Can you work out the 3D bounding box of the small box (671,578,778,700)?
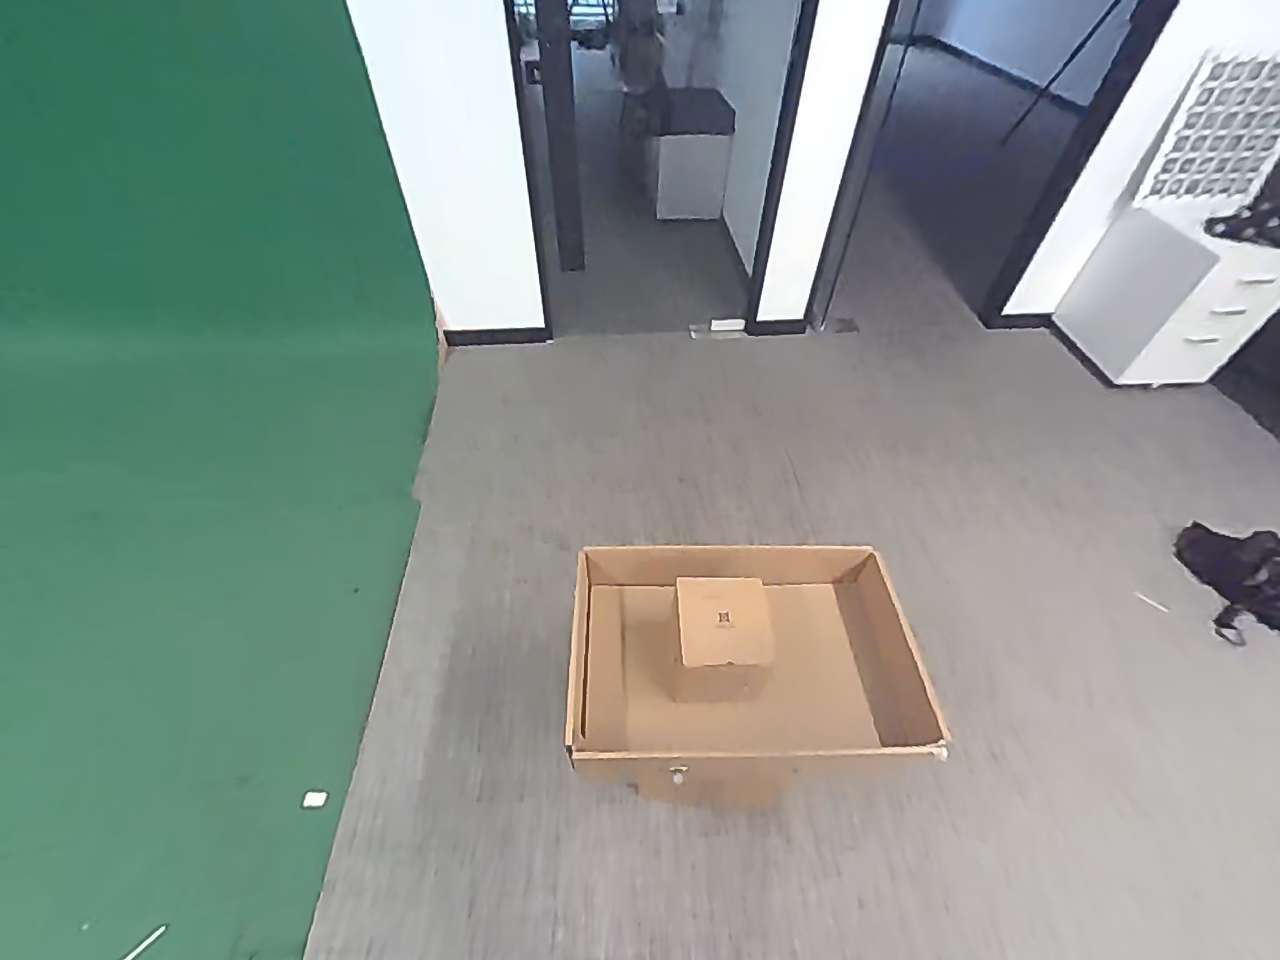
[{"bbox_3d":[0.151,0.305,1.031,0.168,0.176,0.179,1,46,-3],"label":"small box"}]
